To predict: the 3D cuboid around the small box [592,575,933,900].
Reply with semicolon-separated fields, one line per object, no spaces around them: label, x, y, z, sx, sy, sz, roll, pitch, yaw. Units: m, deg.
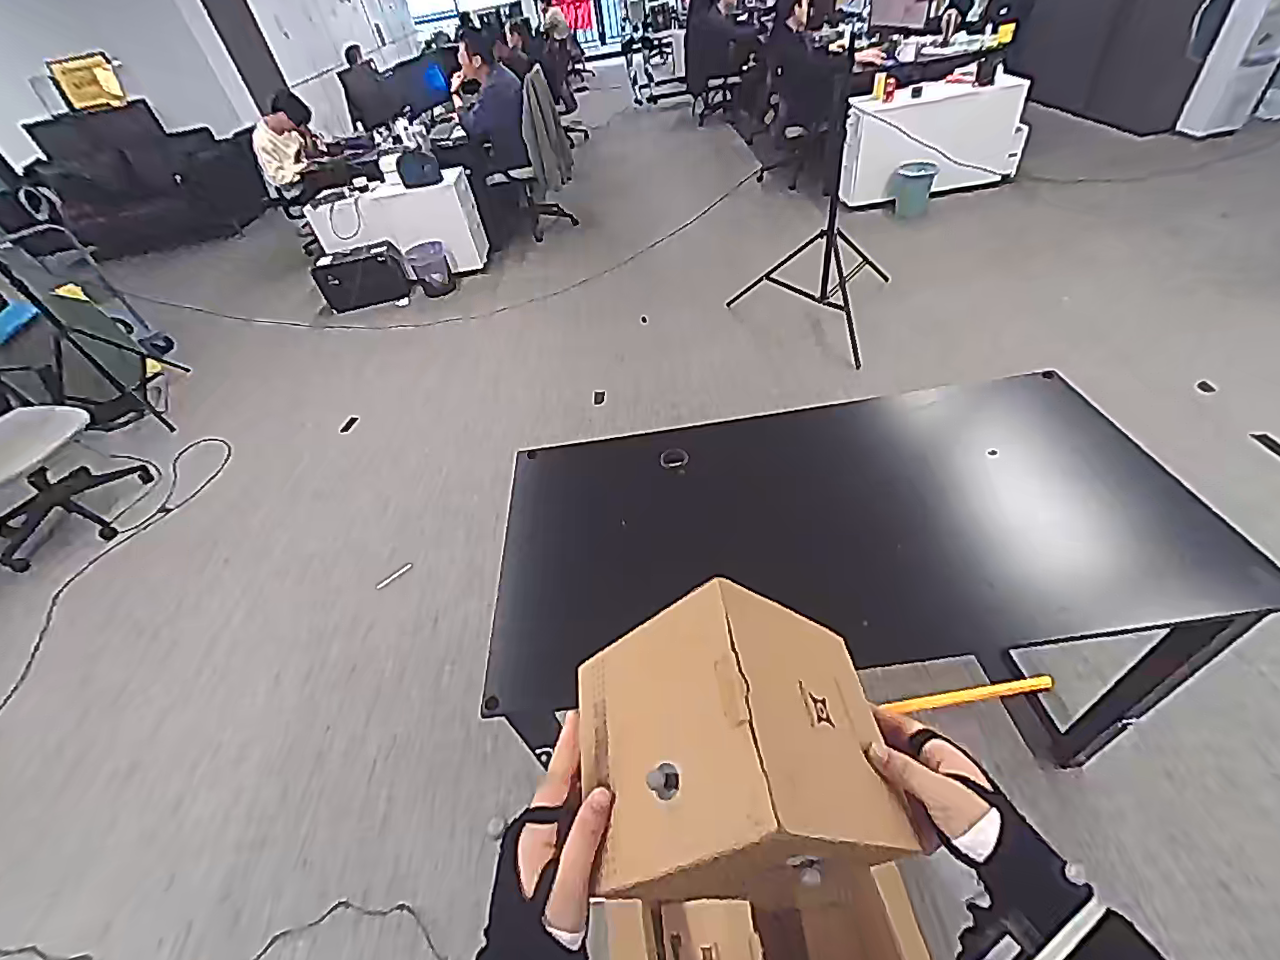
small box;0.075;0.206;0.418;0.176;0.179;0.168;-41;37;28
